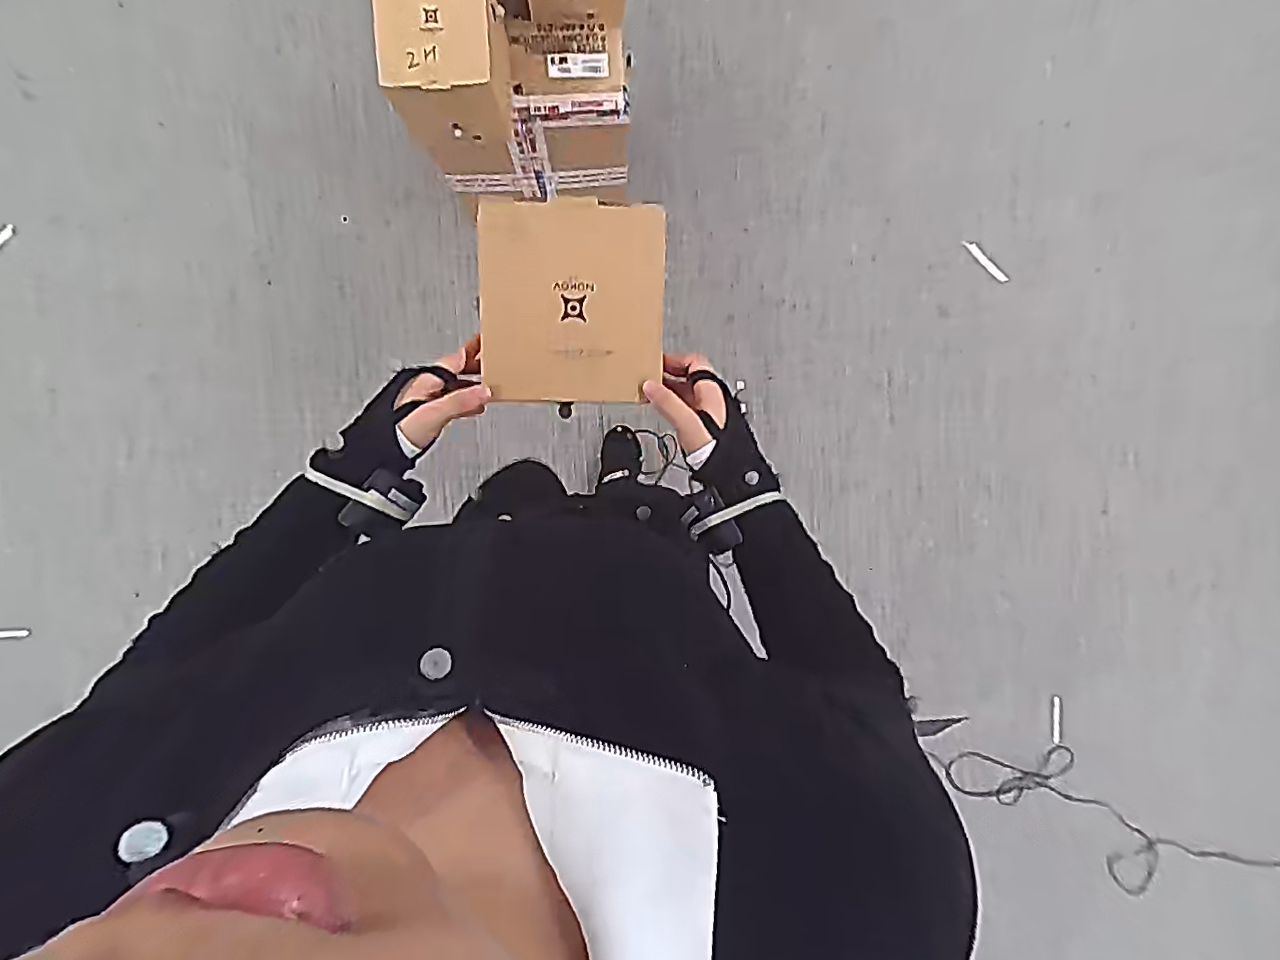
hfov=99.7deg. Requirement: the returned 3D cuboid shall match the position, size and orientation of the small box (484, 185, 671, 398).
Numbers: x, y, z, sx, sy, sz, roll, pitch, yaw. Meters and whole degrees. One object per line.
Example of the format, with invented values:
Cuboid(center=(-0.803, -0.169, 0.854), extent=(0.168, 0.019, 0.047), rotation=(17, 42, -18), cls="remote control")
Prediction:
Cuboid(center=(-0.064, -0.176, 0.560), extent=(0.168, 0.176, 0.179), rotation=(0, 99, -6), cls="small box")
